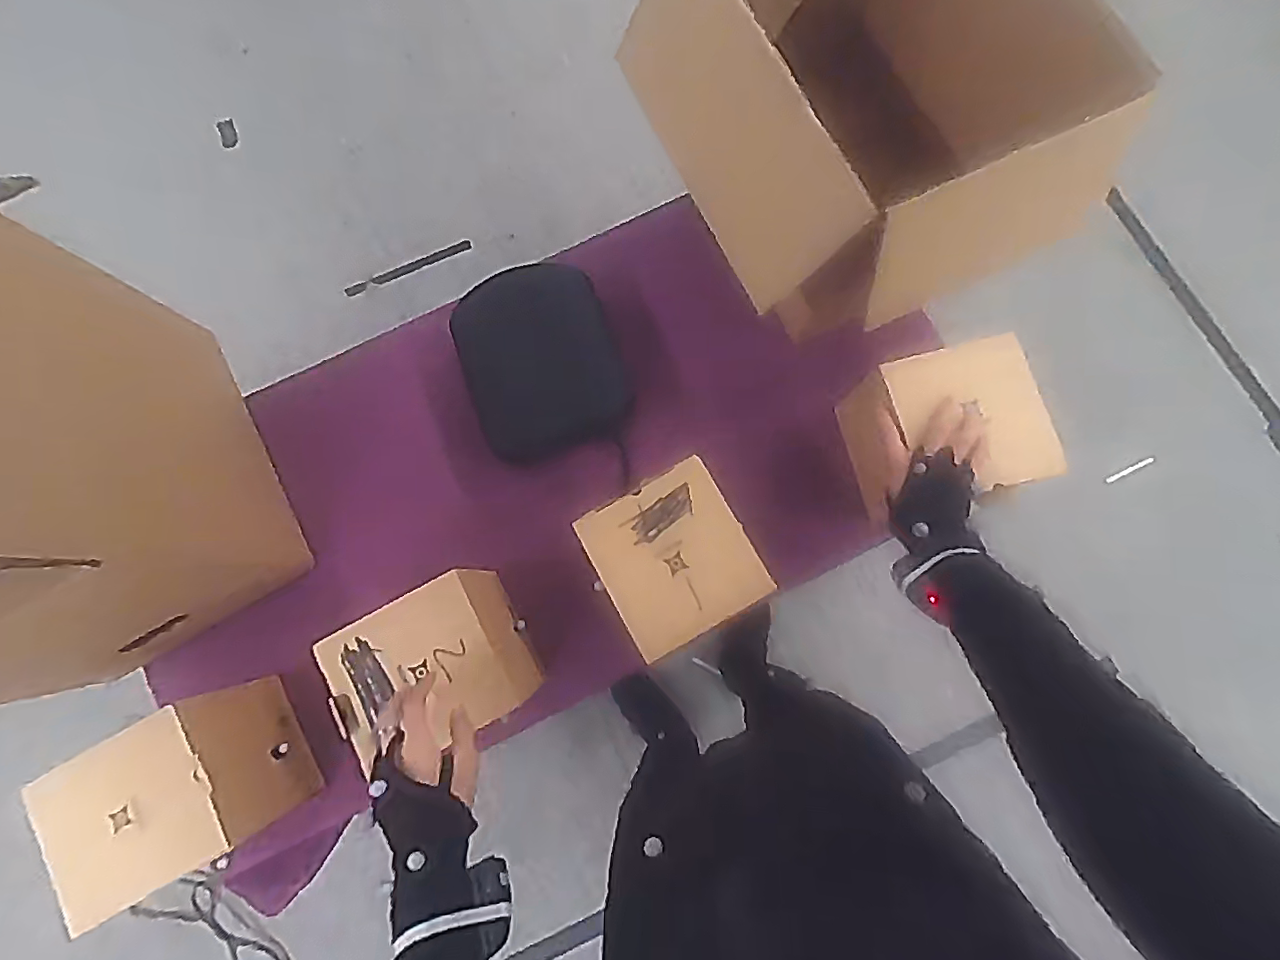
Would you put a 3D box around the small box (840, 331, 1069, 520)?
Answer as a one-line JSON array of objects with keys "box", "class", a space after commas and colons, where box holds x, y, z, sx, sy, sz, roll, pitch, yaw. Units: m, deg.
[{"box": [0.378, -0.058, 0.689, 0.168, 0.176, 0.179, -15, 80, 0], "class": "small box"}]

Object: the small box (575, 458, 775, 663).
[{"box": [0.038, 0.100, 0.673, 0.168, 0.176, 0.179, -29, 81, -3], "class": "small box"}]

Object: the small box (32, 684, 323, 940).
[{"box": [-0.528, 0.370, 0.642, 0.179, 0.176, 0.168, -30, 80, -5], "class": "small box"}]
